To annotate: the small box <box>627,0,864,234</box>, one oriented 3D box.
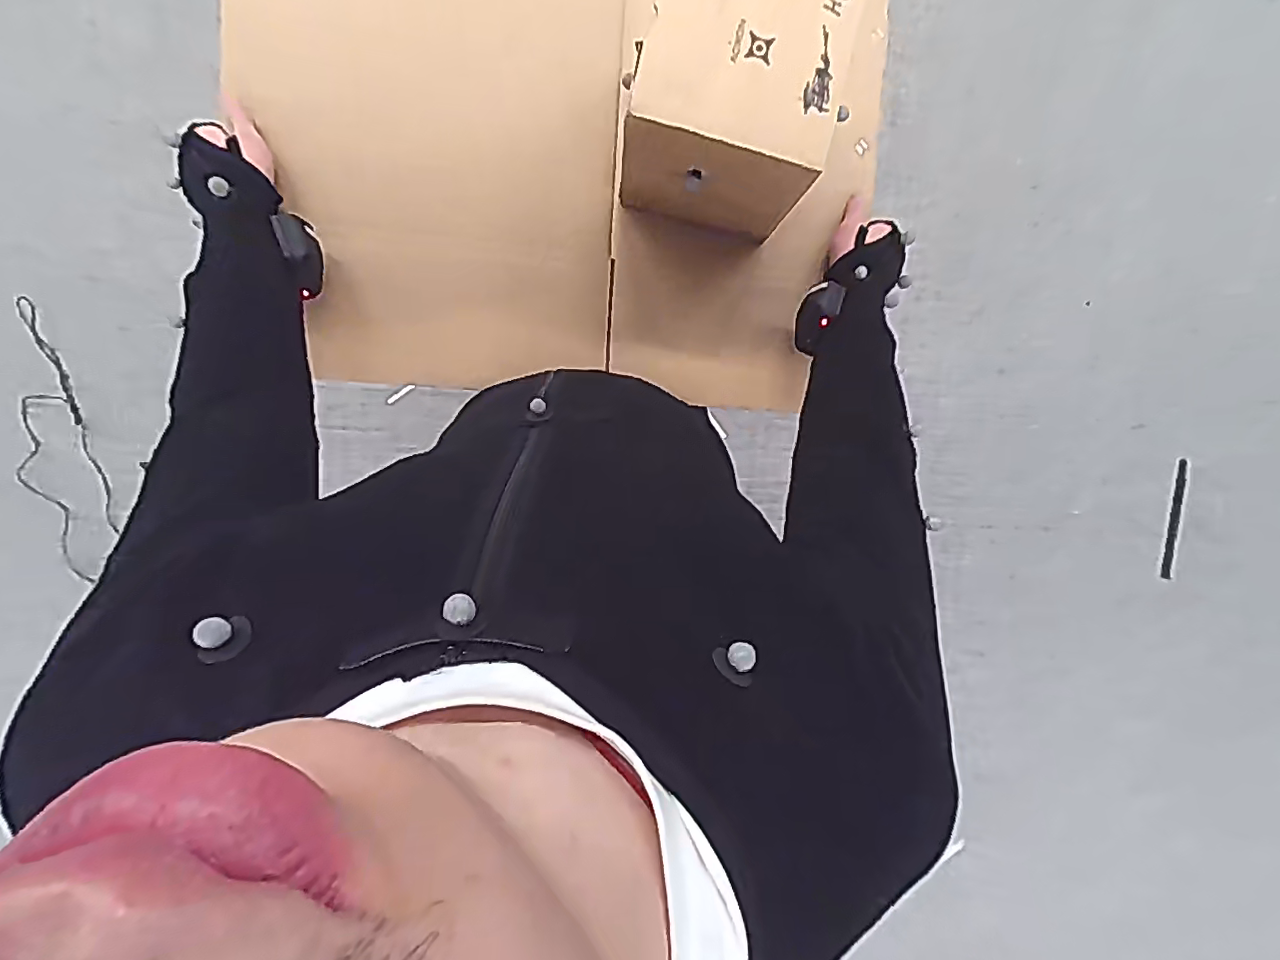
[{"bbox_3d":[0.088,-0.370,0.538,0.179,0.176,0.168,13,93,-4],"label":"small box"}]
